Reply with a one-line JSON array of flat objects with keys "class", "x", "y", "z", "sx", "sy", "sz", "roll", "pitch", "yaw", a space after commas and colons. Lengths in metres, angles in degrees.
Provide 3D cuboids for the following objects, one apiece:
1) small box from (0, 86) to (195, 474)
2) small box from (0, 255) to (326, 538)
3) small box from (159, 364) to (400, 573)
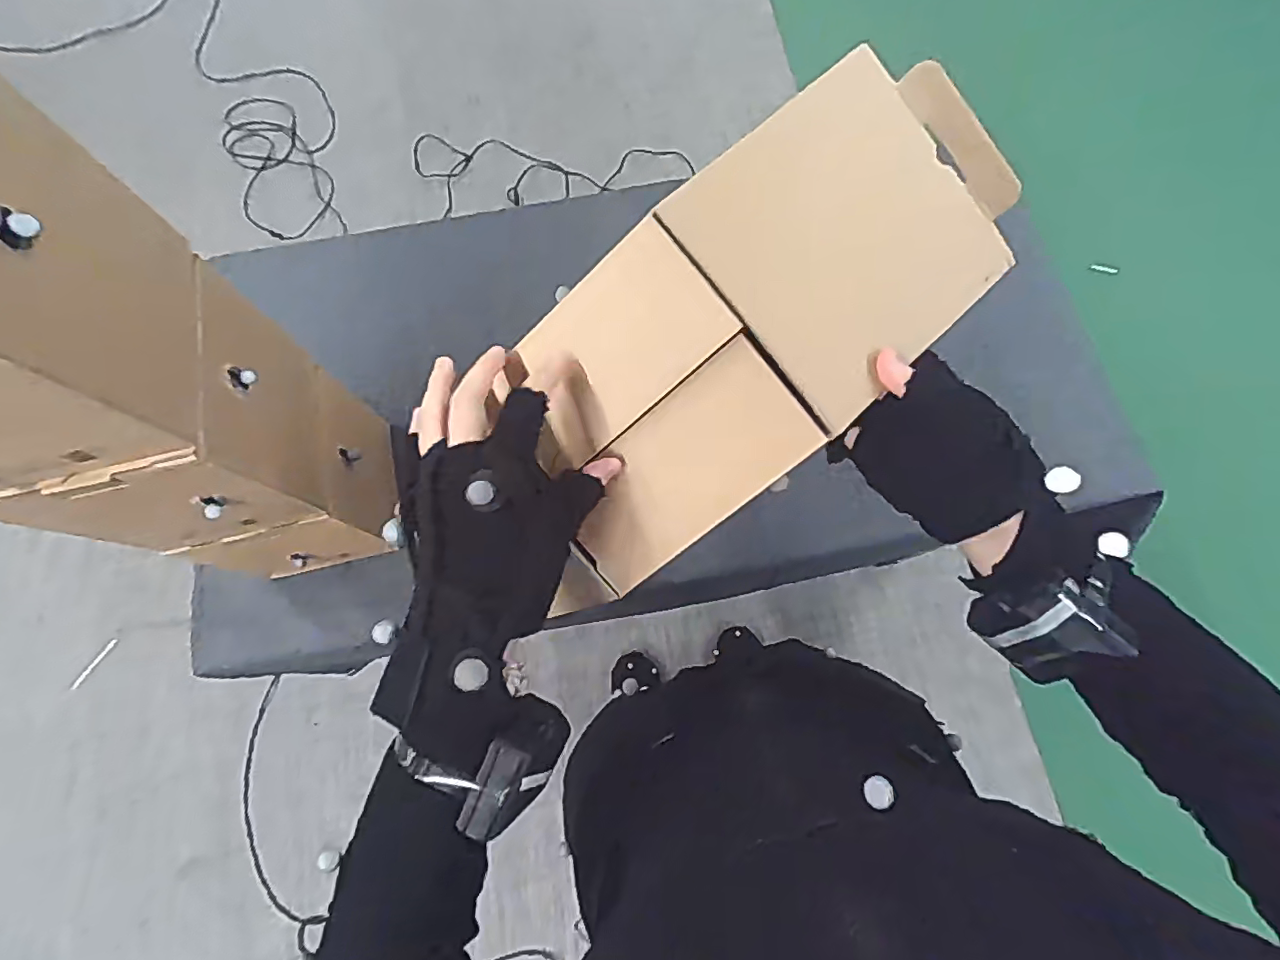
[{"class": "small box", "x": -0.402, "y": -0.111, "z": 0.313, "sx": 0.168, "sy": 0.176, "sz": 0.179, "roll": -14, "pitch": 73, "yaw": -5}, {"class": "small box", "x": -0.398, "y": -0.055, "z": 0.467, "sx": 0.168, "sy": 0.176, "sz": 0.179, "roll": -12, "pitch": 73, "yaw": -4}, {"class": "small box", "x": -0.396, "y": -0.004, "z": 0.622, "sx": 0.168, "sy": 0.176, "sz": 0.179, "roll": -13, "pitch": 73, "yaw": -3}]
